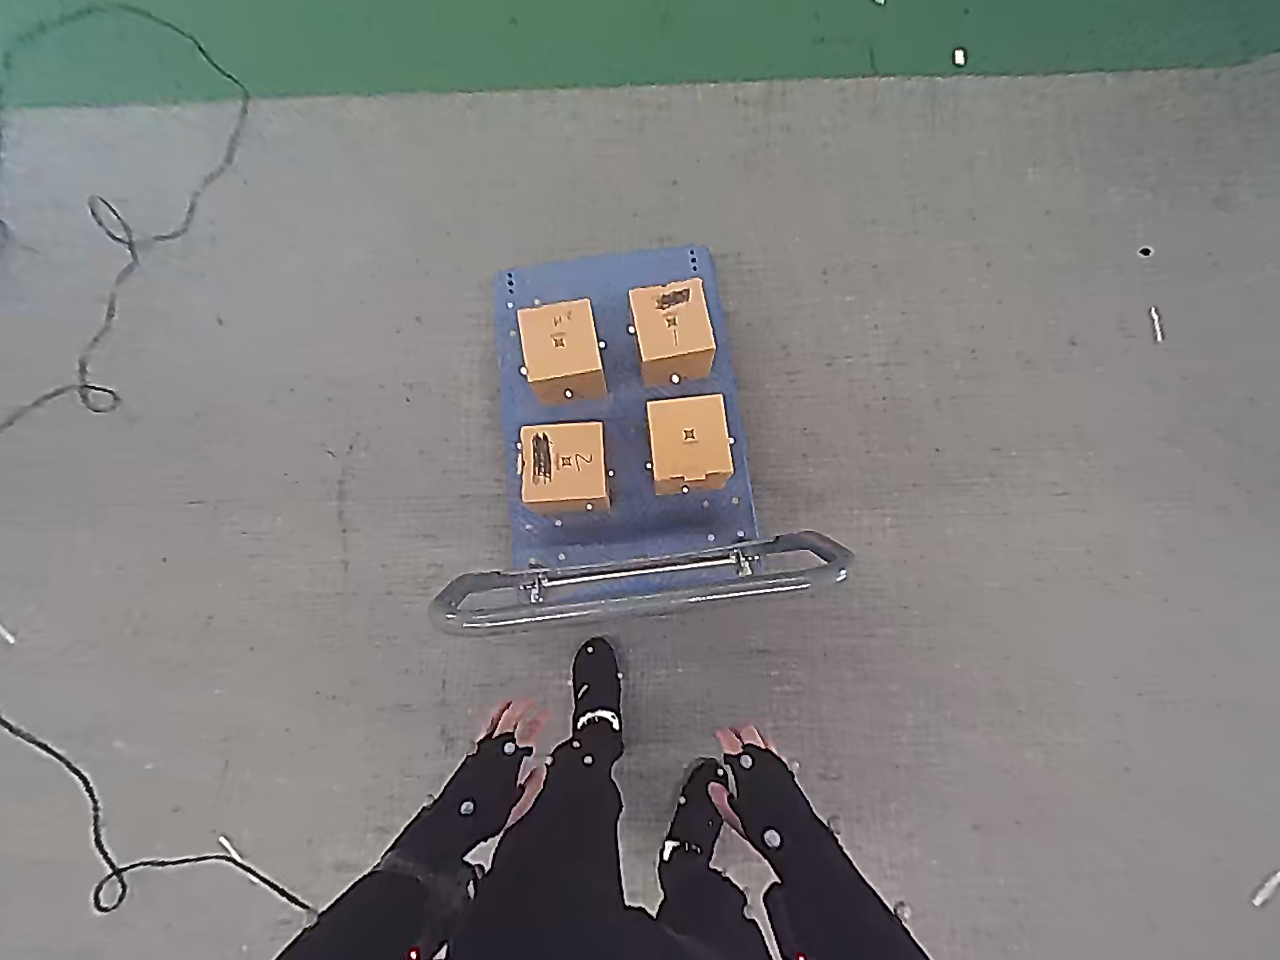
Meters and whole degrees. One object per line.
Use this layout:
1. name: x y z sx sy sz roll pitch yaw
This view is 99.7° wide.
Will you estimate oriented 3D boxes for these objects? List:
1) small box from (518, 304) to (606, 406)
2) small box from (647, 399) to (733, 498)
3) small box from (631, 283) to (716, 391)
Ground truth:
1. small box: -0.176 -0.282 1.263 0.168 0.176 0.179 -10 78 -2
2. small box: 0.105 -0.066 1.216 0.168 0.176 0.179 -6 79 -1
3. small box: 0.072 -0.329 1.269 0.168 0.176 0.179 -11 79 -1
